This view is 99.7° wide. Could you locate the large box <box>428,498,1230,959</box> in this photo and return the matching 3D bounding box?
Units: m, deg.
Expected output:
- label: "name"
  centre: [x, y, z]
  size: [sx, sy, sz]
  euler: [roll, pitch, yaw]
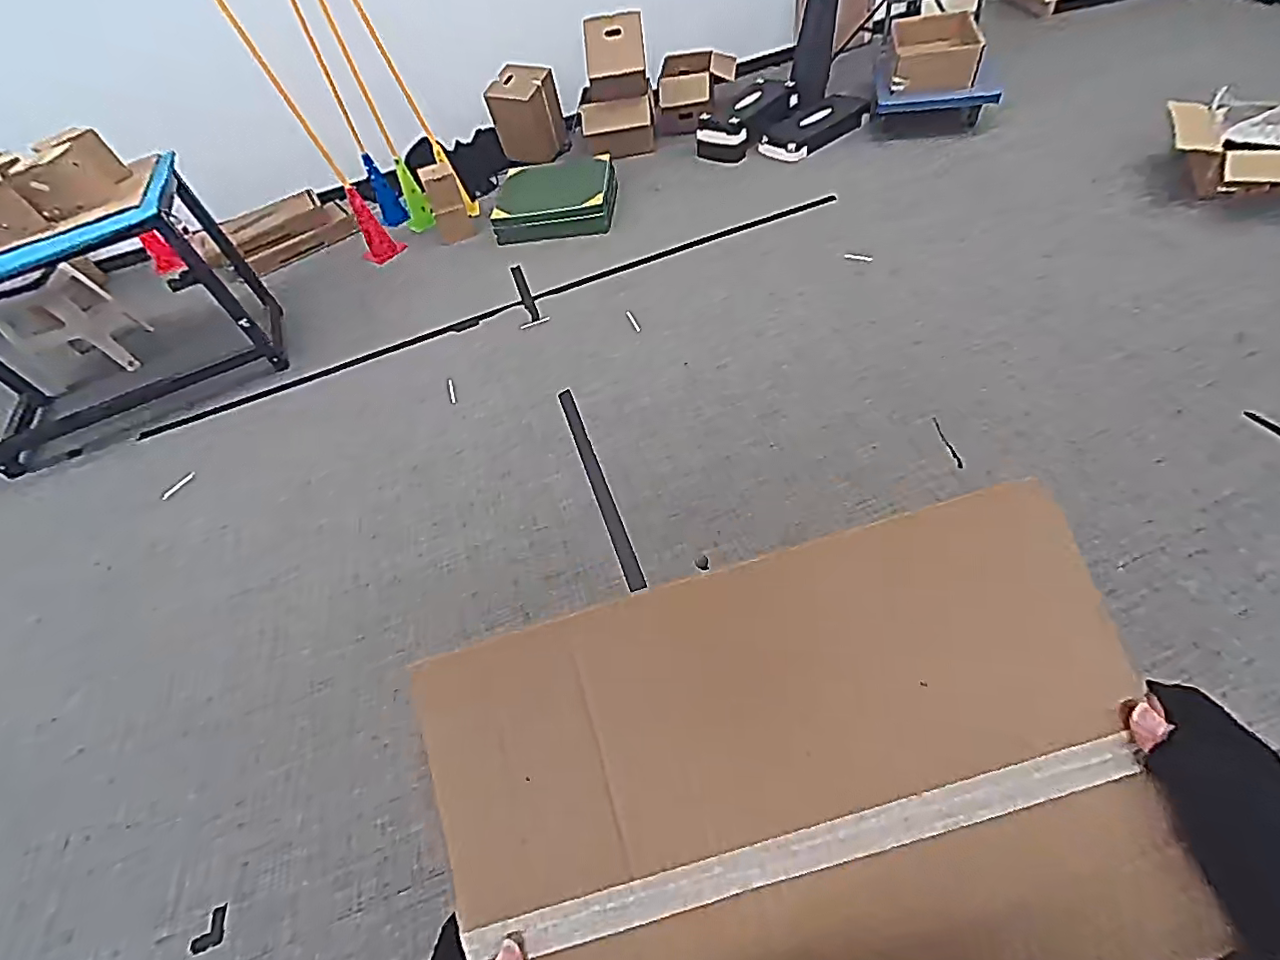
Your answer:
- label: "large box"
  centre: [0.106, 0.237, 0.460]
  size: [0.408, 0.320, 0.320]
  euler: [-17, 79, 0]
